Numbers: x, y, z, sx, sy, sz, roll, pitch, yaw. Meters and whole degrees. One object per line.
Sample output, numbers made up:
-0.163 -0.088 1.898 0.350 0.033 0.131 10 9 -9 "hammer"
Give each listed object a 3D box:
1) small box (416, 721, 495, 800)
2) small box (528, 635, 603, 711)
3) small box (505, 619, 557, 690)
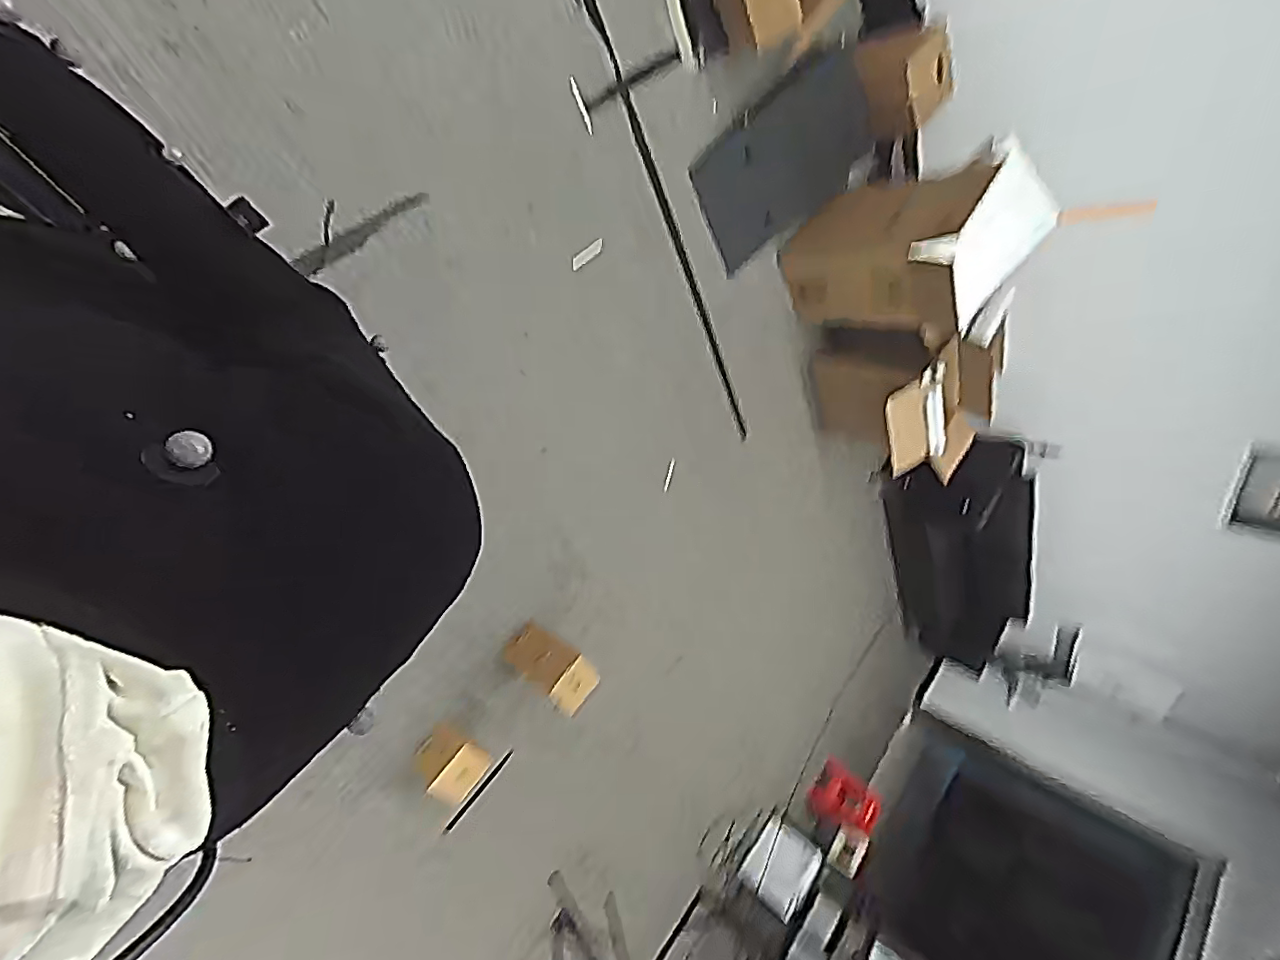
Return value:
-0.663 0.999 1.937 0.168 0.176 0.179 -50 133 -20 "small box"
-0.273 0.700 1.980 0.168 0.176 0.179 -47 130 -24 "small box"
-0.388 0.670 2.094 0.168 0.176 0.179 -46 131 -25 "small box"
